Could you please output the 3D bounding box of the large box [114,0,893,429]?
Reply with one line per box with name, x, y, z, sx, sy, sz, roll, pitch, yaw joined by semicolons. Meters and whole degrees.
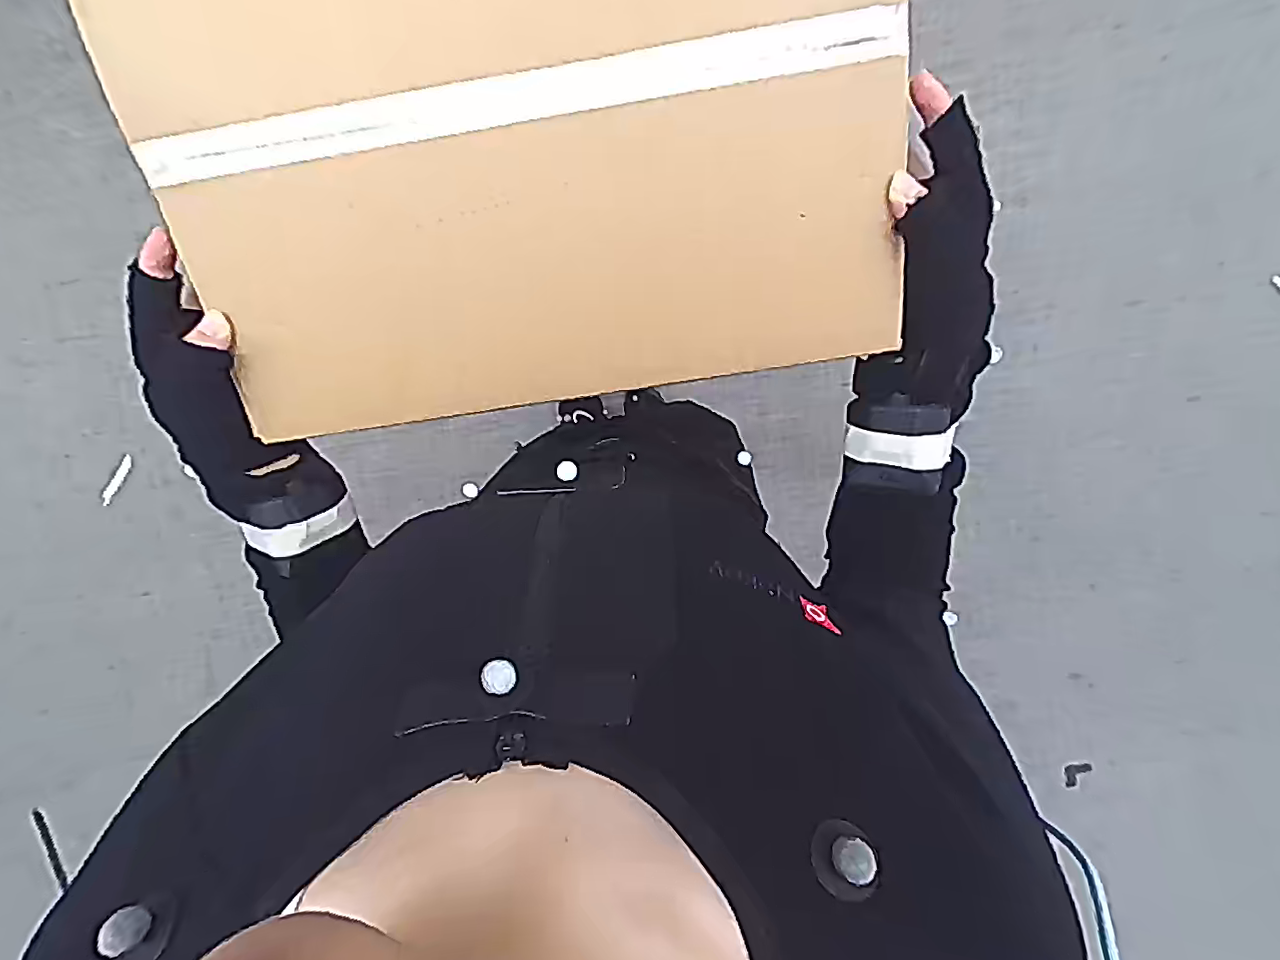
large box;-0.065;-0.255;0.434;0.408;0.320;0.320;-8;111;3
